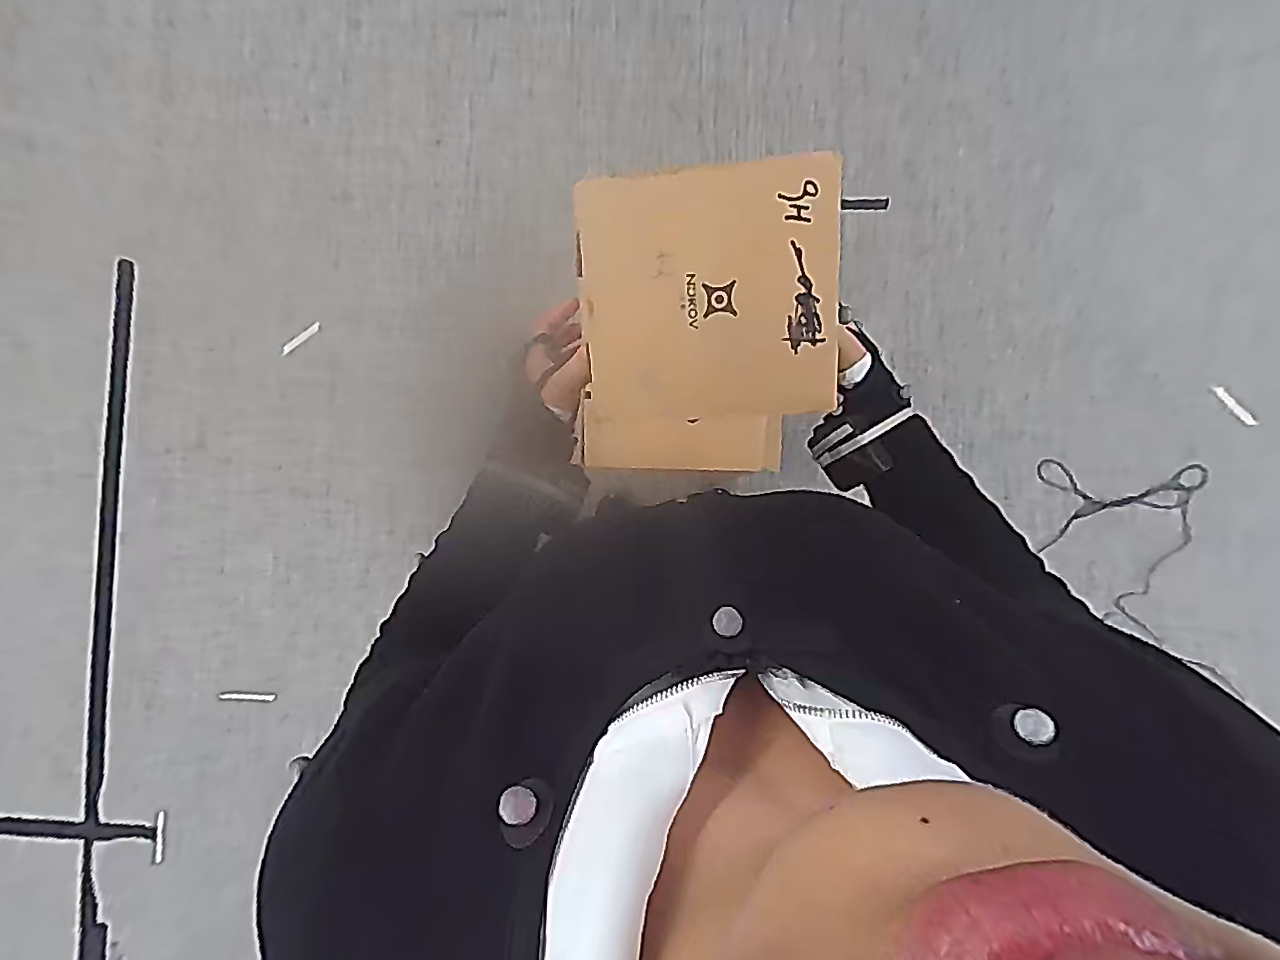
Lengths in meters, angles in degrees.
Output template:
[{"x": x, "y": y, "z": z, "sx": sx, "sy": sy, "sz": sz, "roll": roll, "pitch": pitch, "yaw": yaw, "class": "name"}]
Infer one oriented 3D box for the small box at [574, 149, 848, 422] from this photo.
[{"x": 0.058, "y": -0.141, "z": 0.437, "sx": 0.179, "sy": 0.176, "sz": 0.168, "roll": -2, "pitch": 105, "yaw": 9, "class": "small box"}]
